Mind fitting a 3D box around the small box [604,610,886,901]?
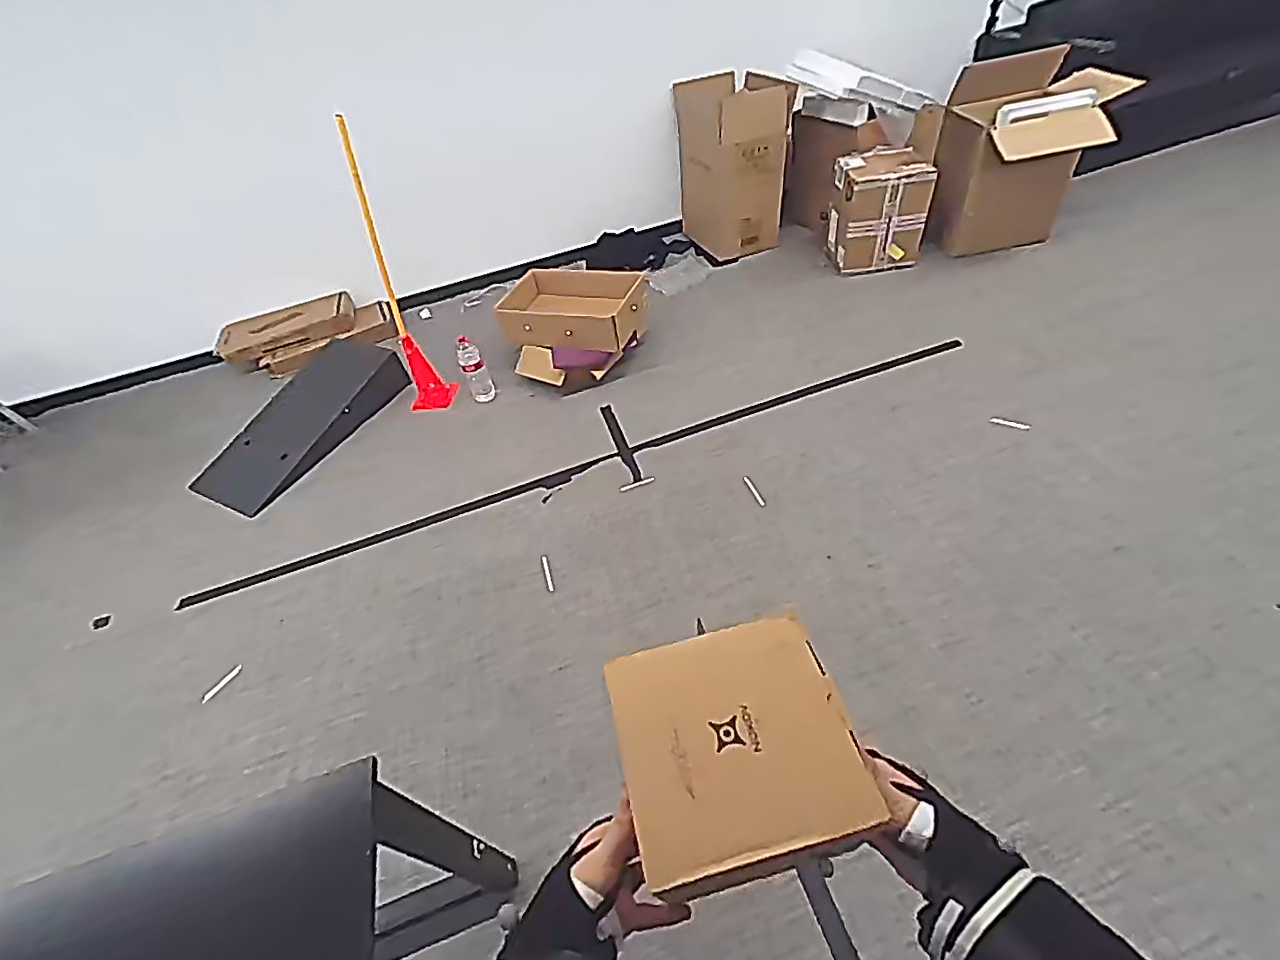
[{"bbox_3d":[0.080,0.245,0.477,0.179,0.176,0.168,-16,48,-3],"label":"small box"}]
